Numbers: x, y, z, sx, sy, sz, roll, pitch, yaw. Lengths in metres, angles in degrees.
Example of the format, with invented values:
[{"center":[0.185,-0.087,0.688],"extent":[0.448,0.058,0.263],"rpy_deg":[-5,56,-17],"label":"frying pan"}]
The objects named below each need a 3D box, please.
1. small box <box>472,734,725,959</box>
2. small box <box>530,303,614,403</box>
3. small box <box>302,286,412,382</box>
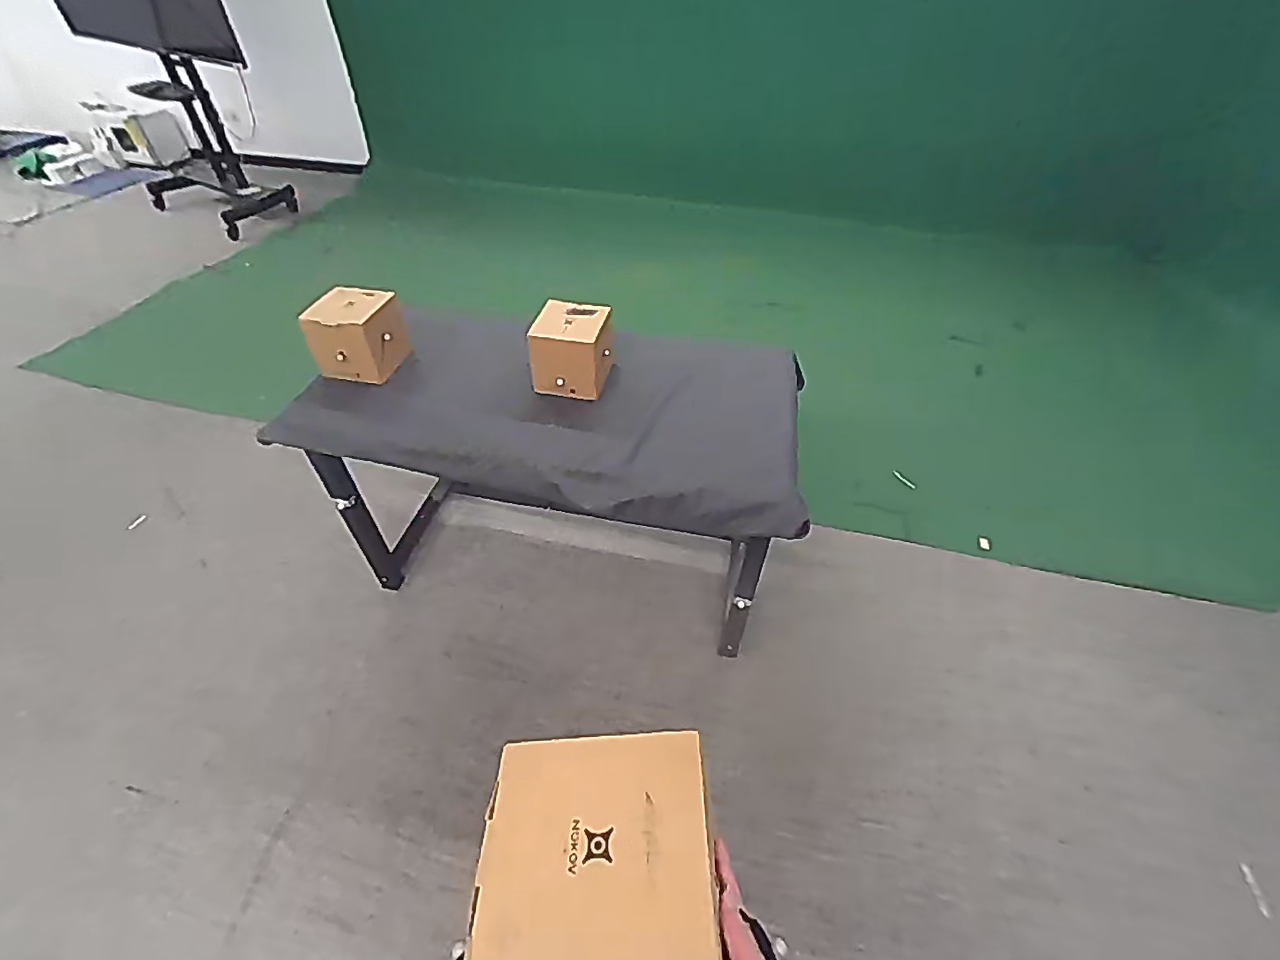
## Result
[{"center":[-0.021,0.344,0.471],"extent":[0.179,0.176,0.168],"rpy_deg":[-5,41,4],"label":"small box"},{"center":[-0.167,-0.322,1.374],"extent":[0.168,0.176,0.179],"rpy_deg":[10,47,7],"label":"small box"},{"center":[-0.716,-0.375,1.395],"extent":[0.168,0.176,0.179],"rpy_deg":[9,46,5],"label":"small box"}]
